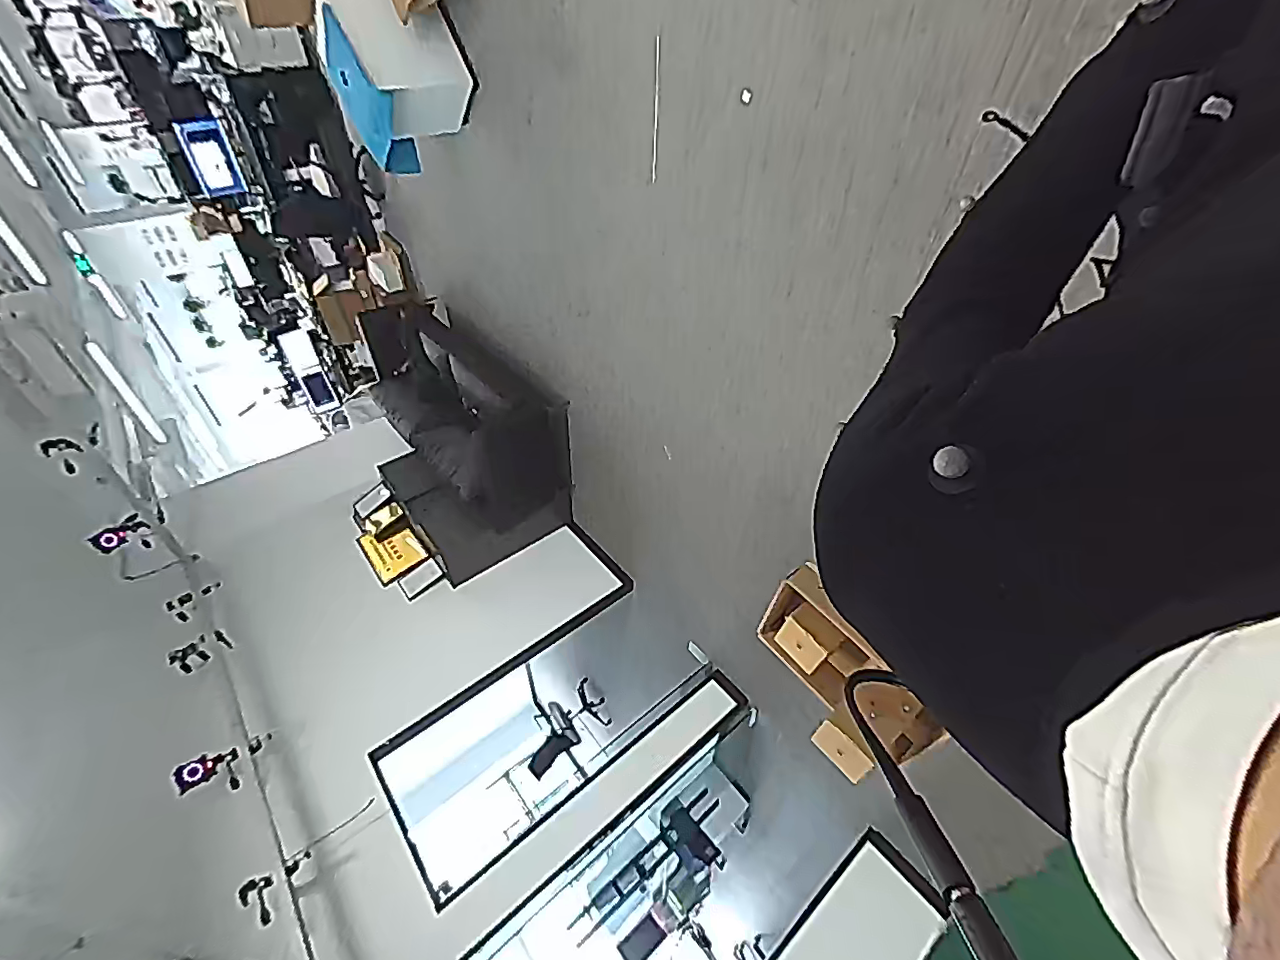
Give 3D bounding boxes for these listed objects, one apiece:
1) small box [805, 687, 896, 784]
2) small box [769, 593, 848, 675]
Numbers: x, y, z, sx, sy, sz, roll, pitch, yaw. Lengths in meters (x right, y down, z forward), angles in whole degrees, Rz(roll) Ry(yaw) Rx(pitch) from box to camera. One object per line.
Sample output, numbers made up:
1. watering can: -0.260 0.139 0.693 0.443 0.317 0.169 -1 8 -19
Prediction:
1. small box: 0.632 0.763 1.623 0.168 0.176 0.179 42 145 30
2. small box: 0.576 0.523 1.846 0.168 0.176 0.179 45 146 28
